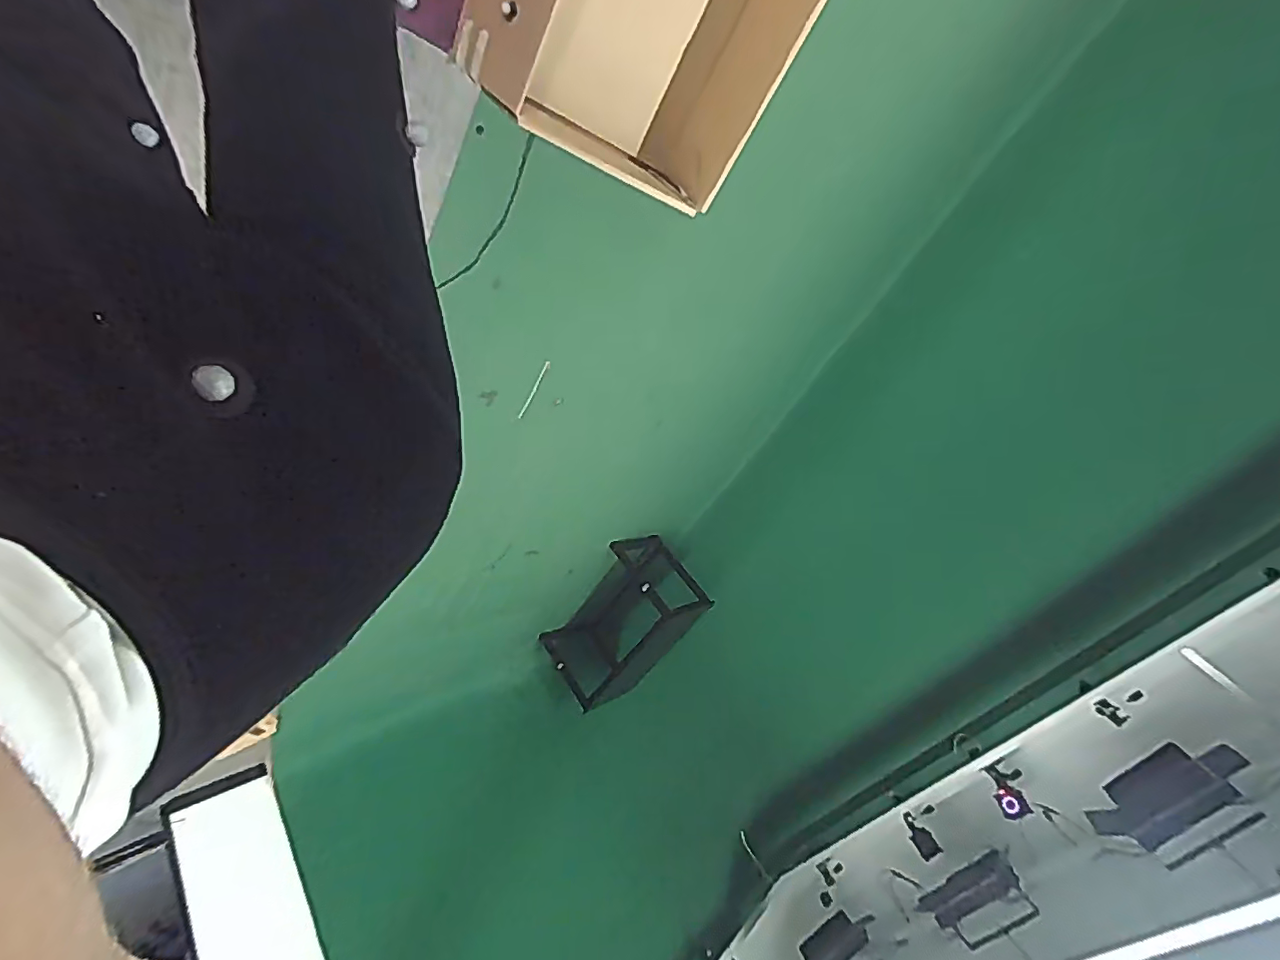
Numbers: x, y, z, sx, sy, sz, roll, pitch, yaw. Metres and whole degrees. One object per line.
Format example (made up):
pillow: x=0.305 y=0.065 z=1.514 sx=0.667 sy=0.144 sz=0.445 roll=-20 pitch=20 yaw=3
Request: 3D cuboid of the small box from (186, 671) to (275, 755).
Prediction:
small box: x=-1.346 y=0.763 z=1.780 sx=0.179 sy=0.176 sz=0.168 roll=-24 pitch=150 yaw=-29
